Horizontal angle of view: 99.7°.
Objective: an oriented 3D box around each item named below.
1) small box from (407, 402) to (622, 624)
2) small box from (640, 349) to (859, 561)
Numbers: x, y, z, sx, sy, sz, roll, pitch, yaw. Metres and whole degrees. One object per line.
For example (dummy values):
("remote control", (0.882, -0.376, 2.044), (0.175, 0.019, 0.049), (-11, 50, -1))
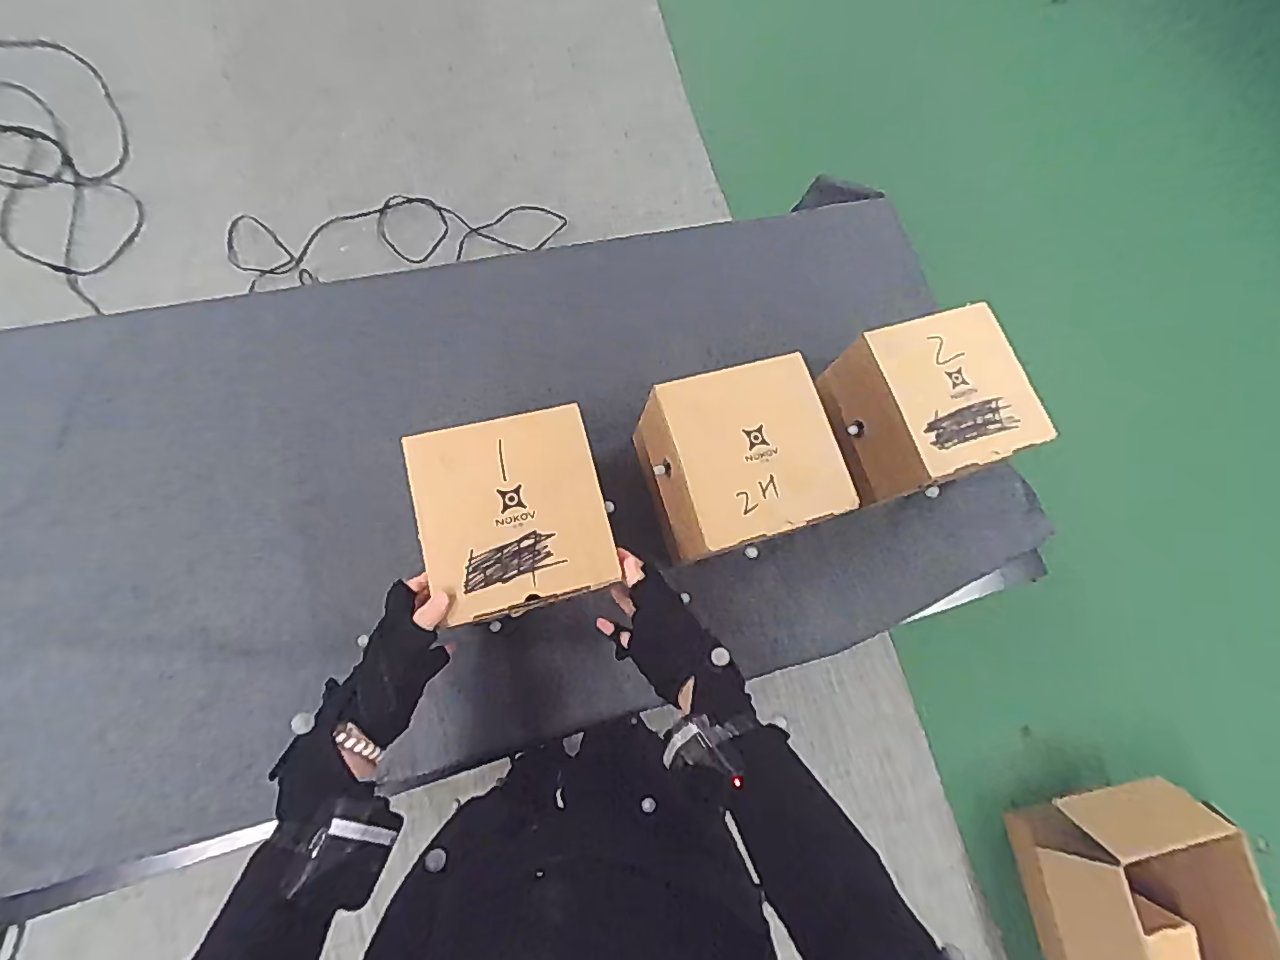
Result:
("small box", (-0.123, 0.041, 0.564), (0.168, 0.176, 0.179), (-13, 78, -12))
("small box", (0.106, -0.019, 0.613), (0.168, 0.176, 0.179), (-15, 79, -10))
